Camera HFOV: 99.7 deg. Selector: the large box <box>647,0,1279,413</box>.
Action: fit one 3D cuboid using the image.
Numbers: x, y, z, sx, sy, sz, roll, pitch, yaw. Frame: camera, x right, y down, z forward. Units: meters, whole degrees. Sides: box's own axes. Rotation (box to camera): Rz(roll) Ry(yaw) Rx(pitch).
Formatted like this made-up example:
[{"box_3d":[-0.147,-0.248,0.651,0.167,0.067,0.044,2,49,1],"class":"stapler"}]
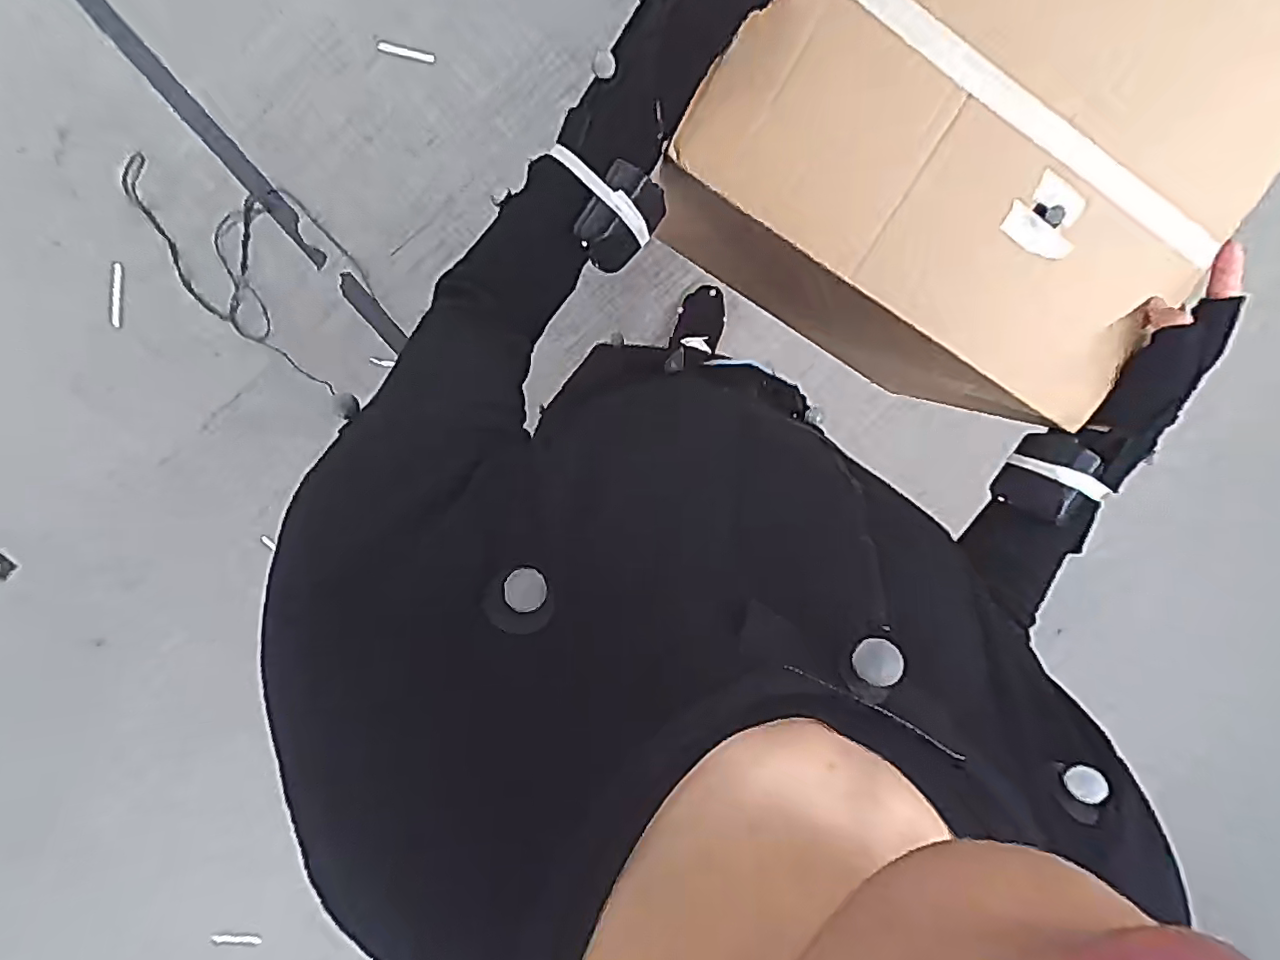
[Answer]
[{"box_3d":[0.259,-0.315,0.545,0.408,0.320,0.320,29,103,-11],"class":"large box"}]
